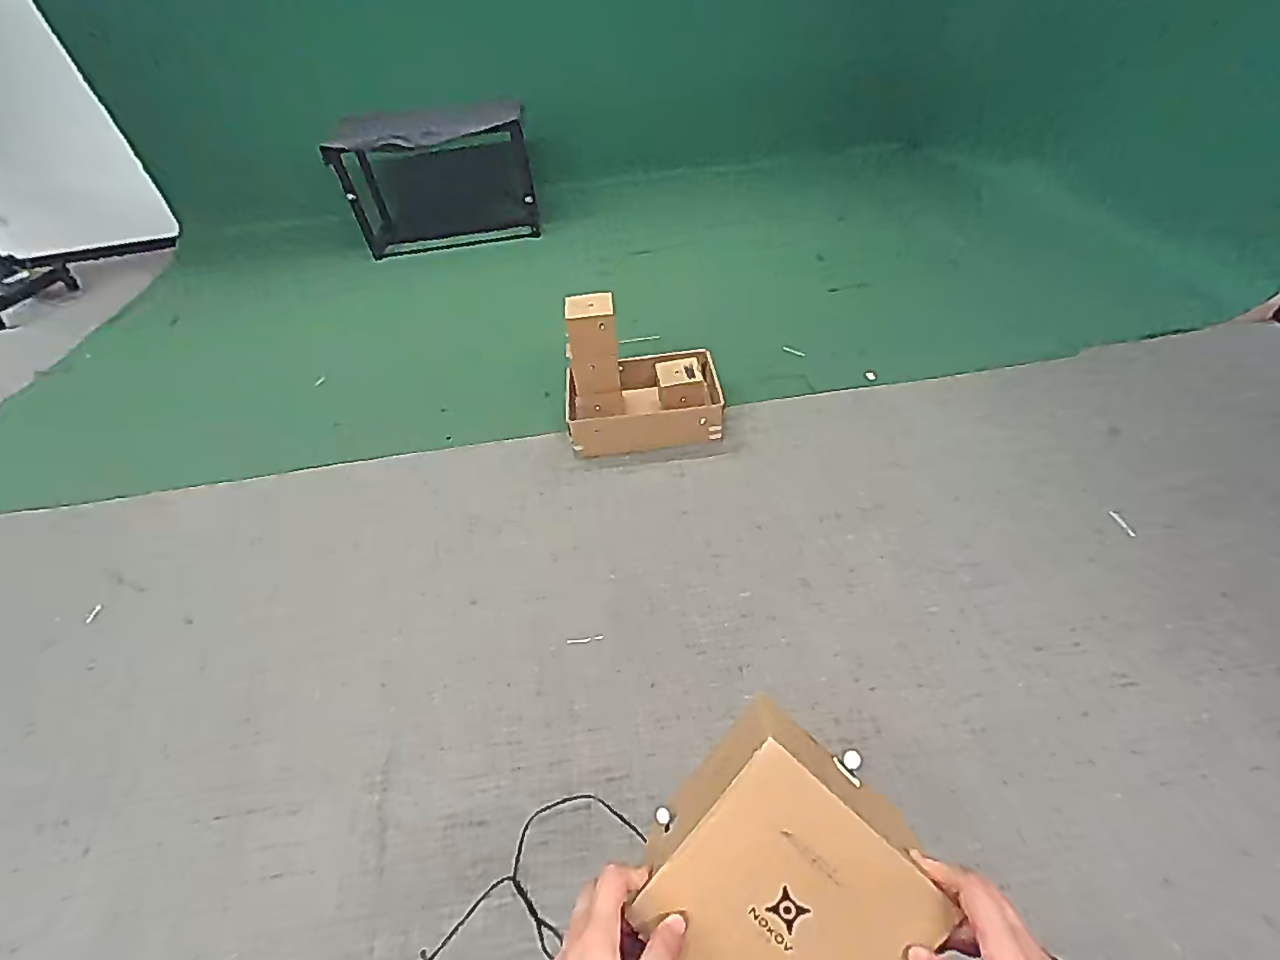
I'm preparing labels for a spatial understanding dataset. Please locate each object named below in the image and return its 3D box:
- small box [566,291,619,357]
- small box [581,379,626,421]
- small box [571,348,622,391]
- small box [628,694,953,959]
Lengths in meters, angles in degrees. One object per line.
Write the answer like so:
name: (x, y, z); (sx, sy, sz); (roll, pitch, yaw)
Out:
small box: (-0.173, -0.578, 2.011); (0.179, 0.176, 0.168); (-7, 46, 0)
small box: (-0.153, -0.359, 2.257); (0.168, 0.176, 0.179); (-7, 47, -1)
small box: (-0.171, -0.465, 2.132); (0.179, 0.176, 0.168); (-6, 47, -1)
small box: (0.118, 0.321, 0.468); (0.168, 0.176, 0.179); (39, 89, 13)
